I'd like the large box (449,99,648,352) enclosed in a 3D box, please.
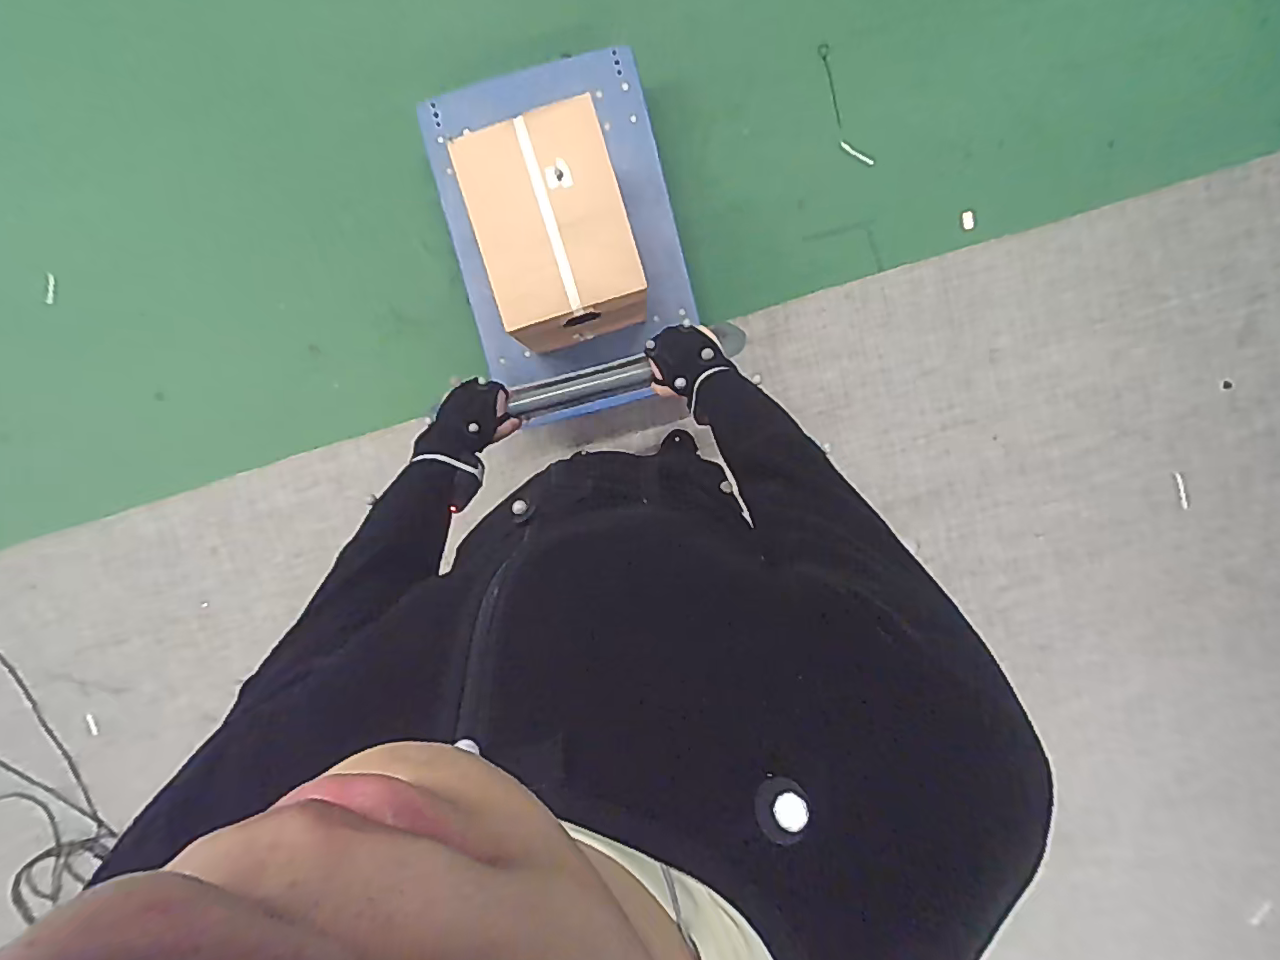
[{"bbox_3d":[-0.185,-0.557,1.268,0.320,0.320,0.408,-17,94,2],"label":"large box"}]
